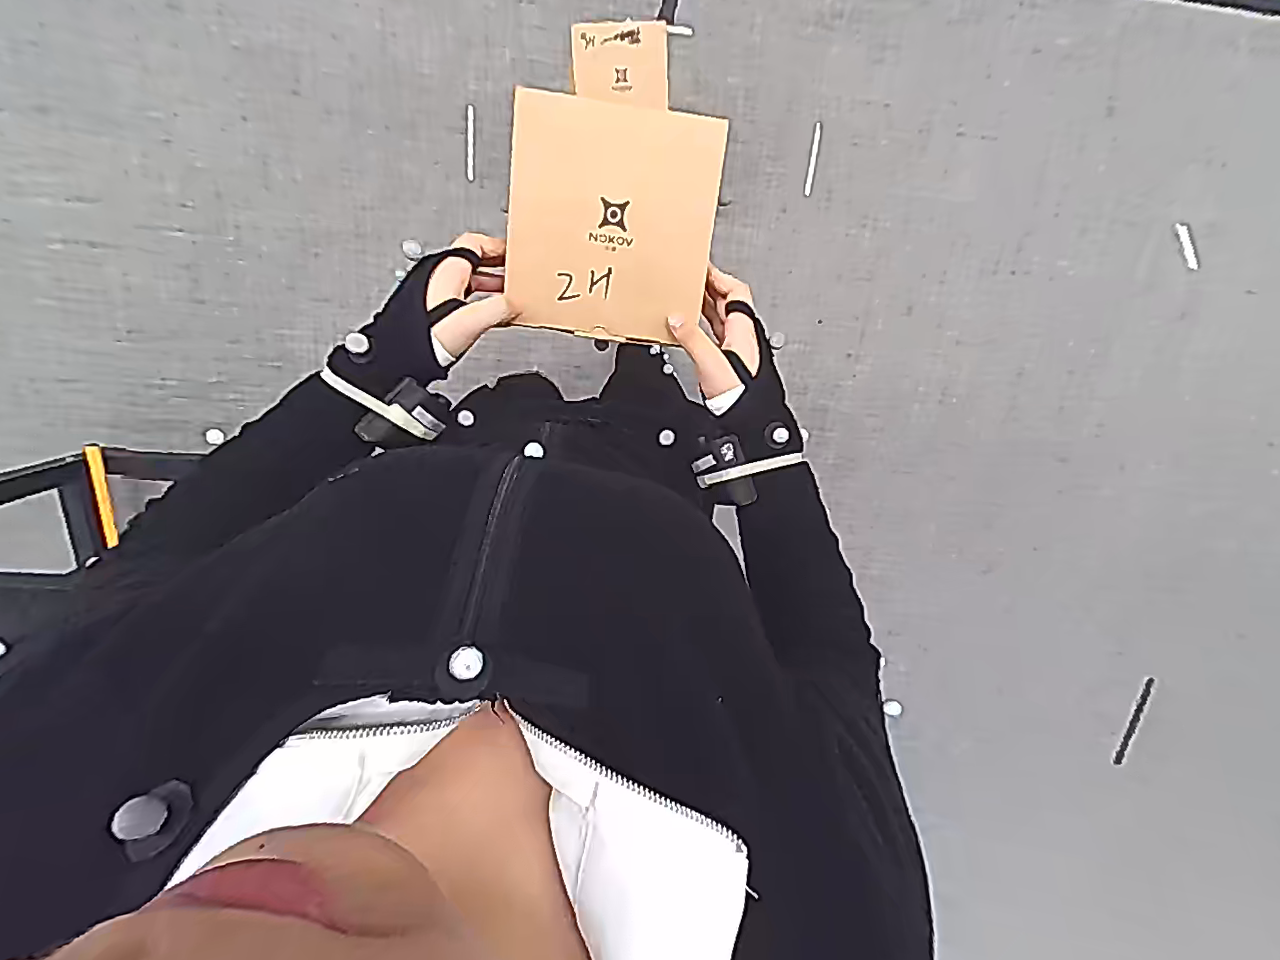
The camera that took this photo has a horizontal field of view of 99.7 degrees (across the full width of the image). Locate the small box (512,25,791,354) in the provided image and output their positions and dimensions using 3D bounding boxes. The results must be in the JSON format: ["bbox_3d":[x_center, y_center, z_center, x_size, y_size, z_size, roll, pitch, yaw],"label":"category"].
[{"bbox_3d":[0.000,-0.201,0.426,0.168,0.176,0.179,6,106,-4],"label":"small box"}]
